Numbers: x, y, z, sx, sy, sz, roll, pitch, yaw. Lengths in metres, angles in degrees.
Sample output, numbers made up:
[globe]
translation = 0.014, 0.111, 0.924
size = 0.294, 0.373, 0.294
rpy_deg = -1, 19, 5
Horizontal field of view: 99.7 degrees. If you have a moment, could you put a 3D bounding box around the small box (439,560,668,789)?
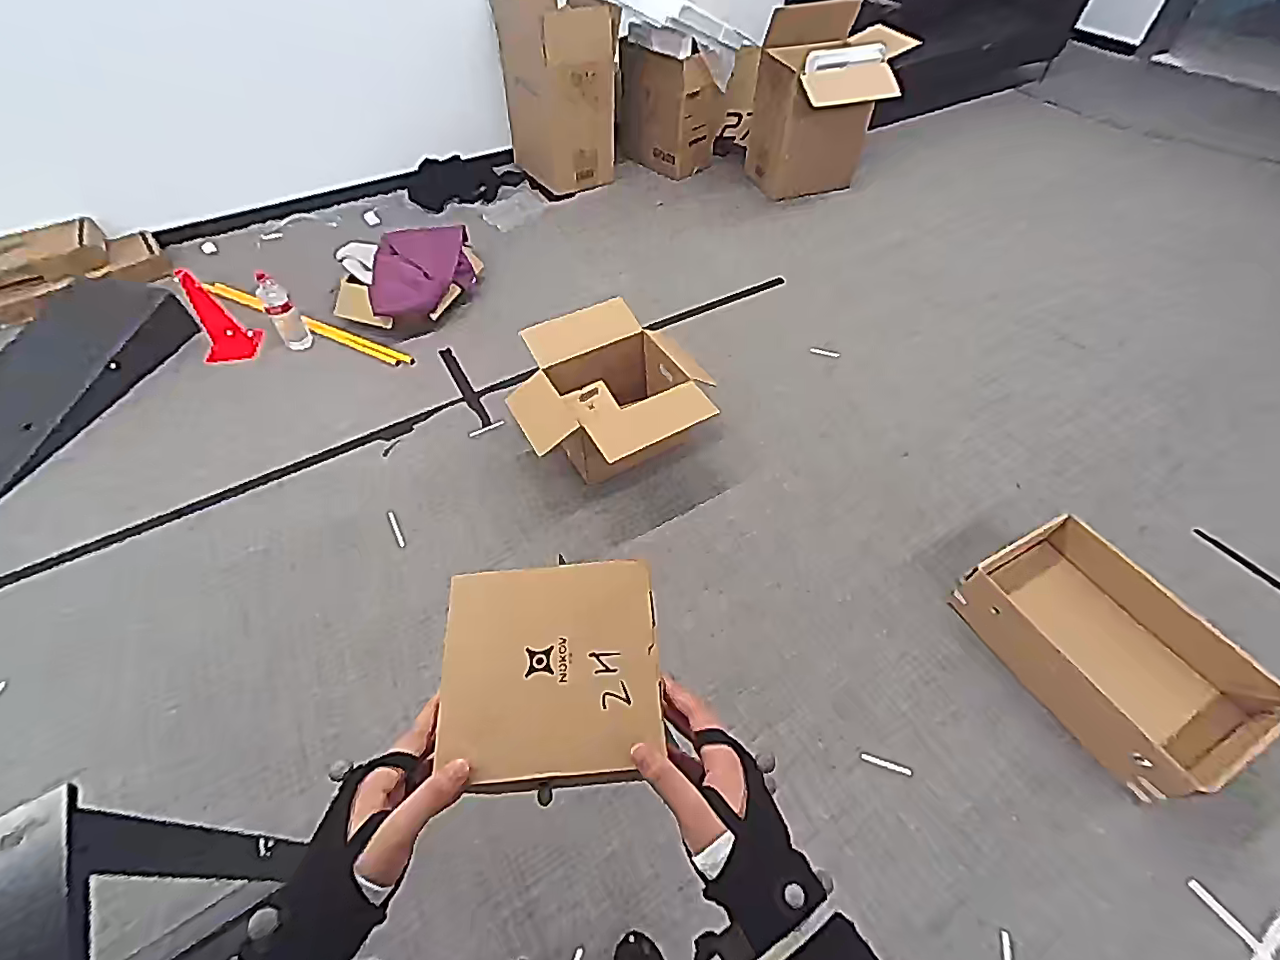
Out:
[small box]
translation = -0.068, 0.190, 0.512
size = 0.179, 0.176, 0.168
rpy_deg = -5, 59, -2
